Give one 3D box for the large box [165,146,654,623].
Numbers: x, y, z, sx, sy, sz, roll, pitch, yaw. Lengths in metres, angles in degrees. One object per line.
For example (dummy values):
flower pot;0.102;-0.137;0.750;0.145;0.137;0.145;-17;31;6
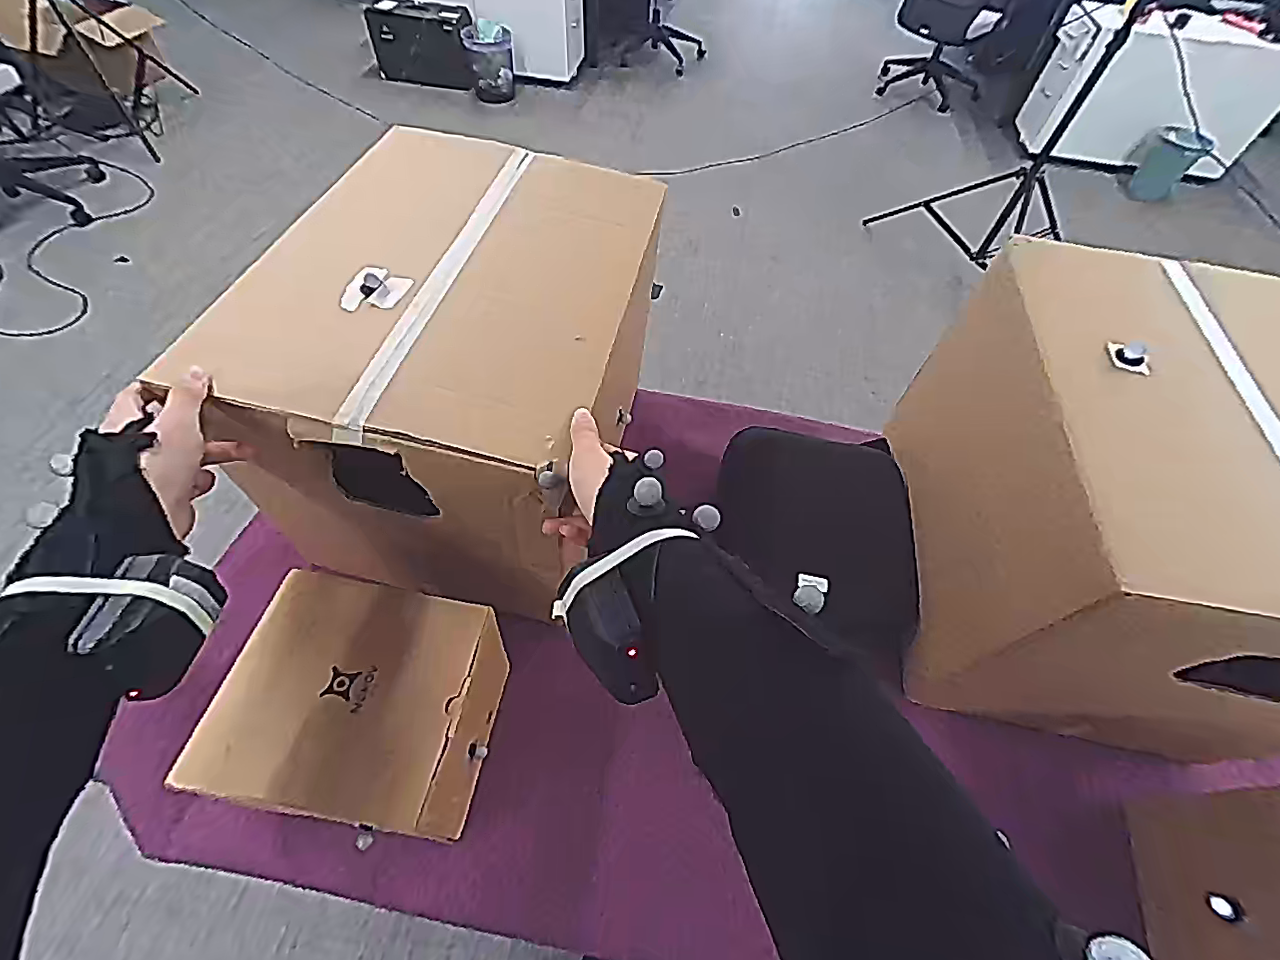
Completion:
large box;-0.181;-0.100;0.621;0.320;0.320;0.408;12;57;2
